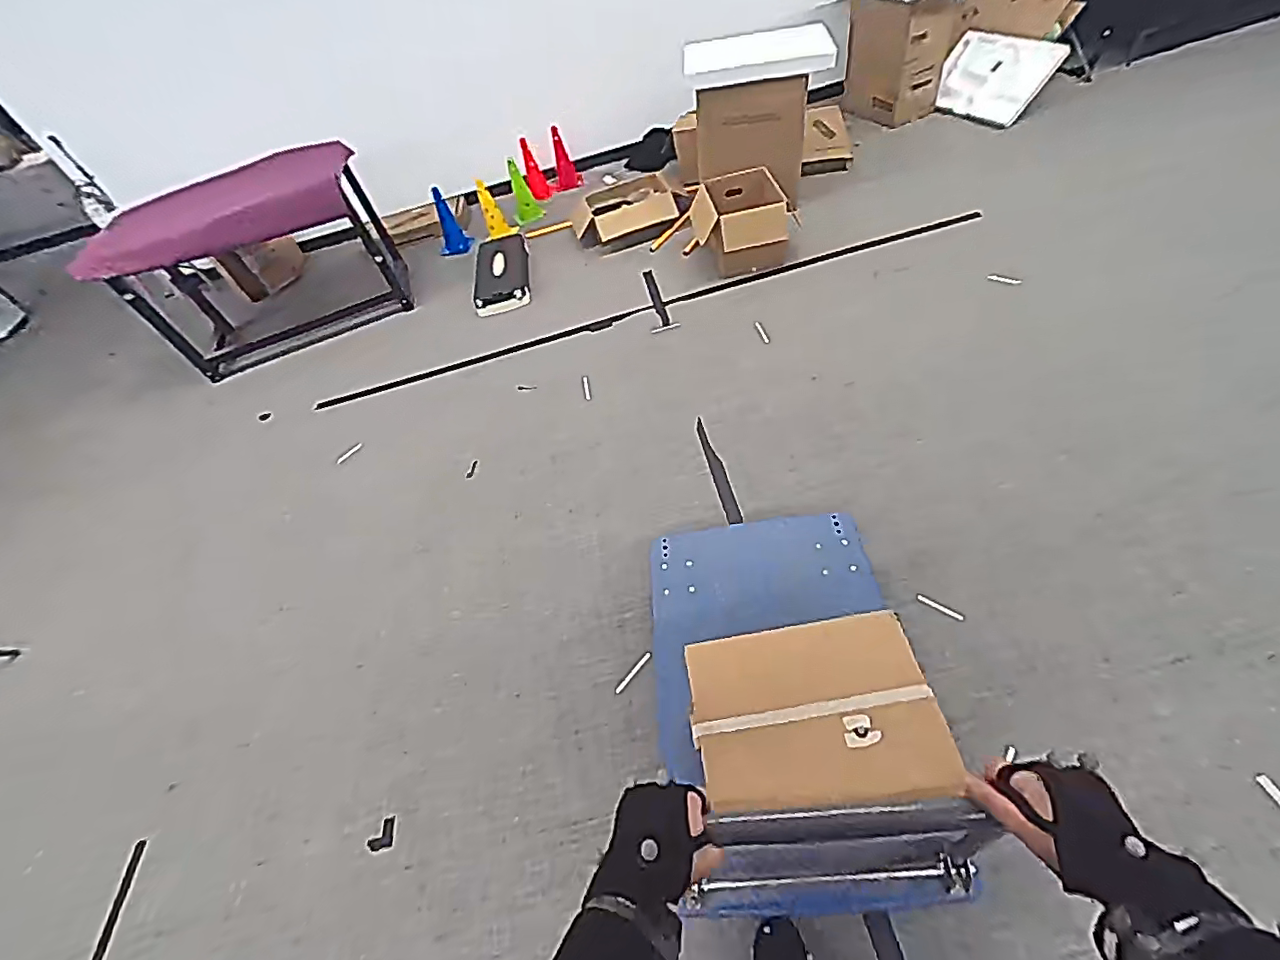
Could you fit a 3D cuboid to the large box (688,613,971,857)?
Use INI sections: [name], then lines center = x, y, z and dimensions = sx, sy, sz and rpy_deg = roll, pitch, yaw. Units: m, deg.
[large box]
center = 0.327, 0.502, 1.051
dimensions = 0.408, 0.320, 0.320
rpy_deg = -11, 50, 3
